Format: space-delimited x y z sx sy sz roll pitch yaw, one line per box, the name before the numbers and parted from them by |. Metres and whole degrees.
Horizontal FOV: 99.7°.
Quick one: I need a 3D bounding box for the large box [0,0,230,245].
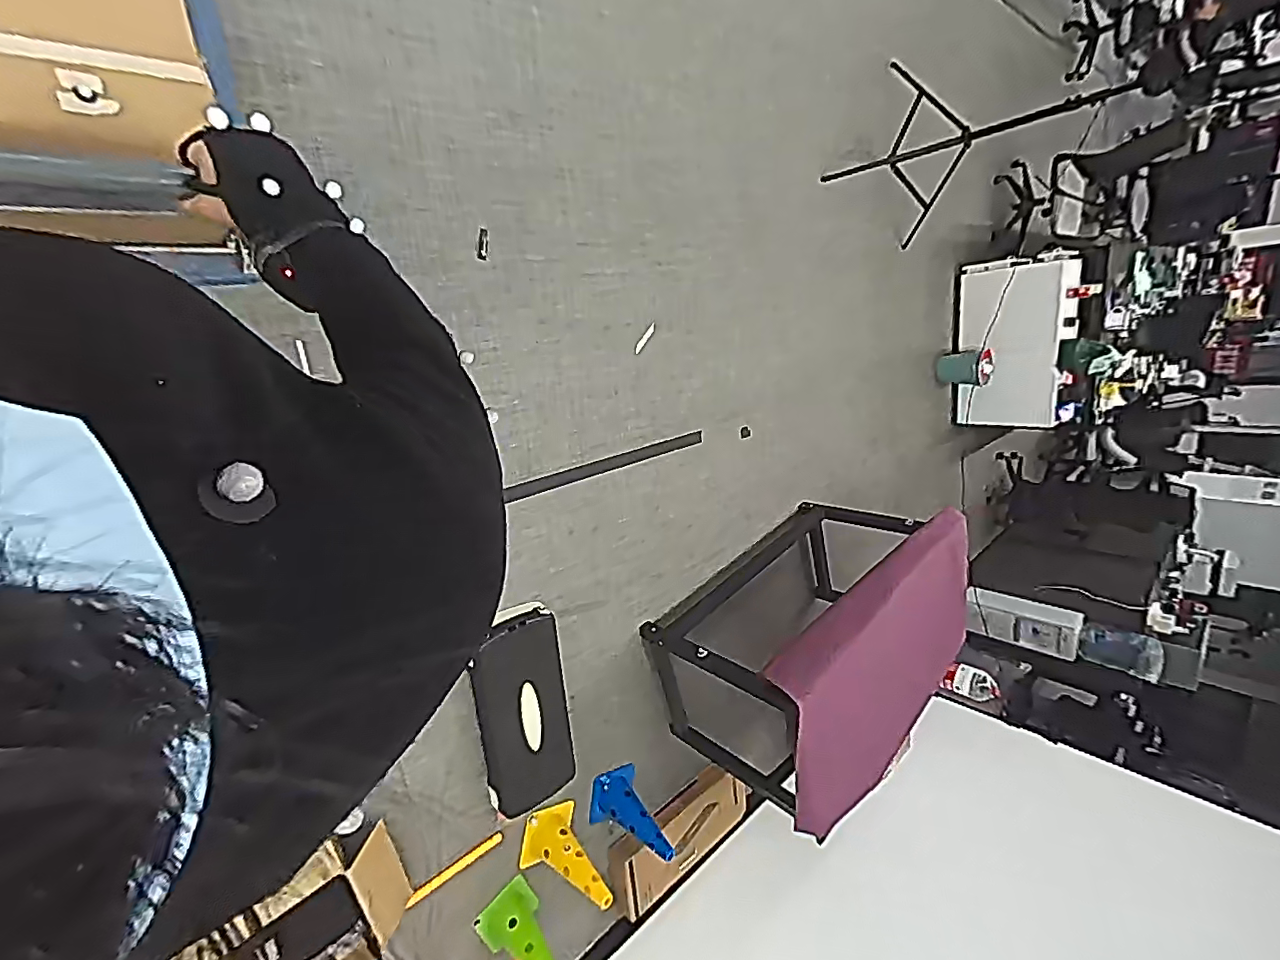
large box | -0.870 -0.522 0.752 0.408 0.320 0.320 -18 109 -39
